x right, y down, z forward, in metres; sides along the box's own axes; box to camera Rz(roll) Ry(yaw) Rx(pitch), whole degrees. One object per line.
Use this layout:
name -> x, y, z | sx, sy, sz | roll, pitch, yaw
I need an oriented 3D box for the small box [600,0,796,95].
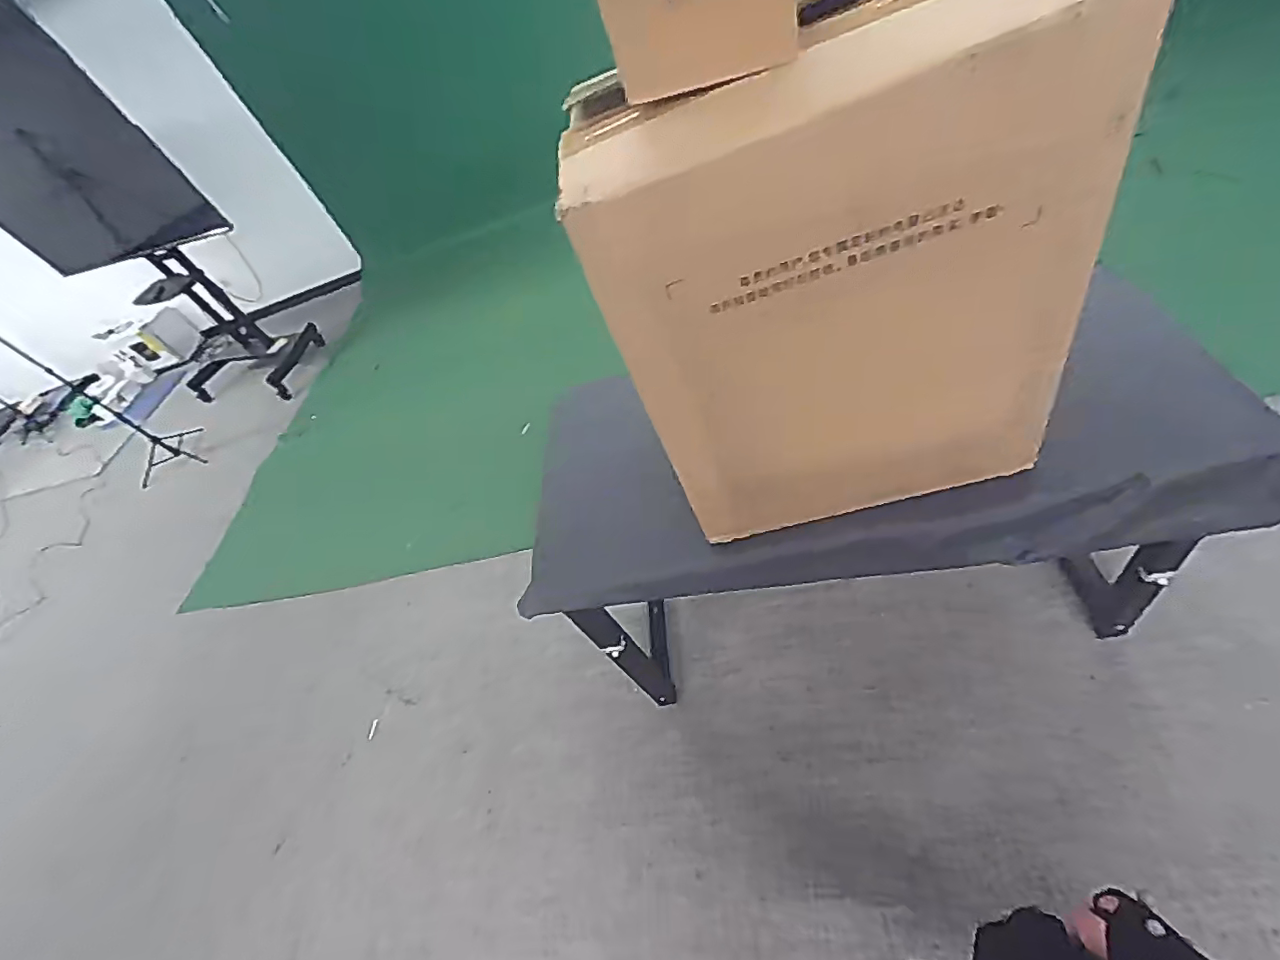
small box -> 0.051, -0.512, 0.515 | 0.179, 0.176, 0.168 | -3, 63, 19
